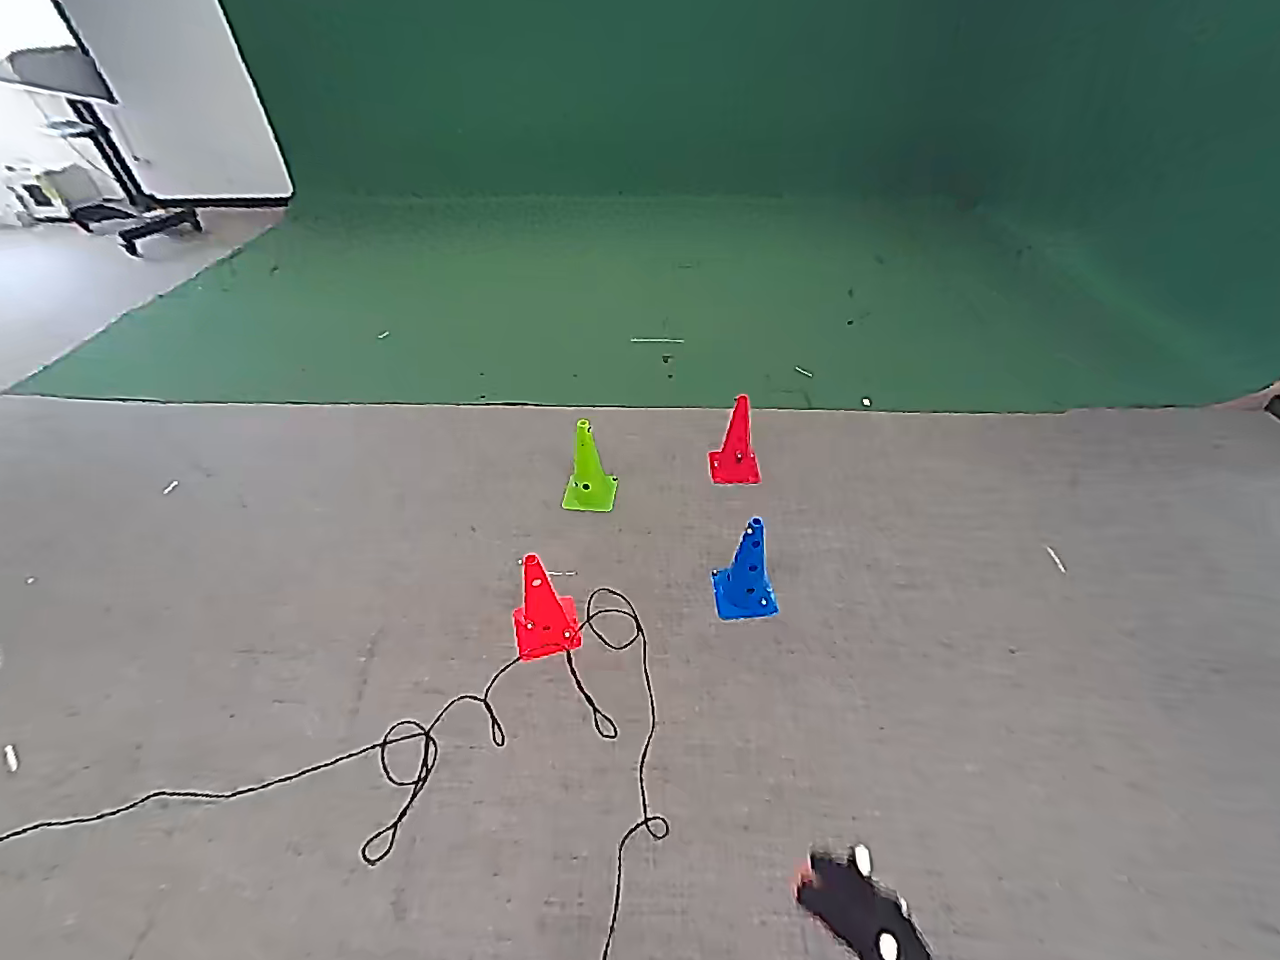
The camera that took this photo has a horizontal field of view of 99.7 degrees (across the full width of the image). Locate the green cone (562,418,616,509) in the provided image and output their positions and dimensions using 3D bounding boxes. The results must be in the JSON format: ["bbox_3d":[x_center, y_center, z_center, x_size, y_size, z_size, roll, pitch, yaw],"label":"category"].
[{"bbox_3d":[-0.208,-0.084,2.063,0.200,0.368,0.202,2,44,5],"label":"green cone"}]

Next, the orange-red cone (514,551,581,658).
[{"bbox_3d":[-0.298,0.341,1.618,0.198,0.360,0.199,-11,42,-12],"label":"orange-red cone"}]
